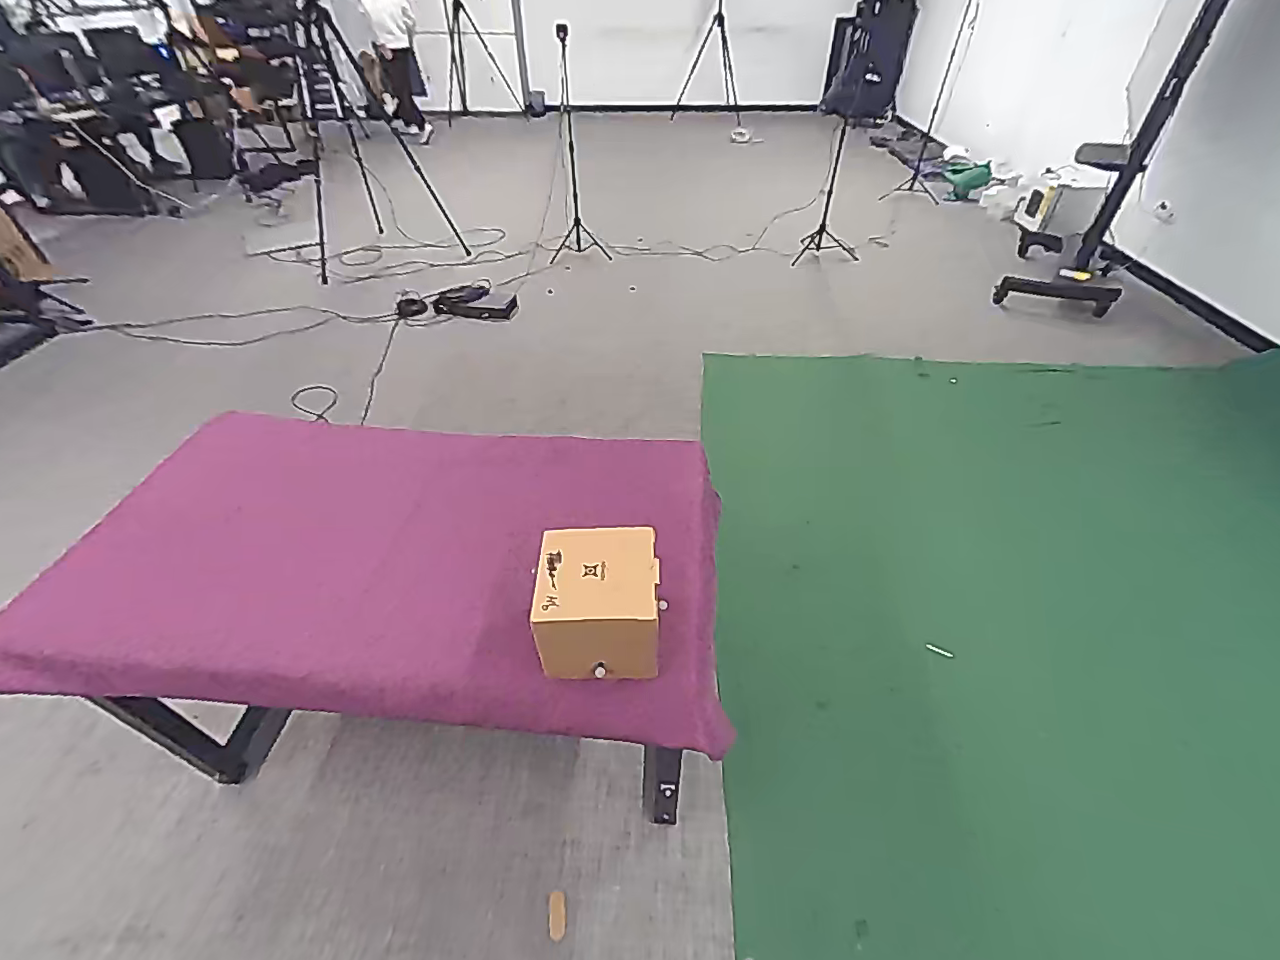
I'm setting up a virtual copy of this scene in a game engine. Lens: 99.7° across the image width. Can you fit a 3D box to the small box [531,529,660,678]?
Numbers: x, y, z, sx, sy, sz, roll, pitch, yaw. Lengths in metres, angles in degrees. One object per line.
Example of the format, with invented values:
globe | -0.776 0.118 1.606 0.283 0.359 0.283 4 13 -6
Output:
small box | -0.060 0.193 0.840 0.179 0.176 0.168 -1 43 1
